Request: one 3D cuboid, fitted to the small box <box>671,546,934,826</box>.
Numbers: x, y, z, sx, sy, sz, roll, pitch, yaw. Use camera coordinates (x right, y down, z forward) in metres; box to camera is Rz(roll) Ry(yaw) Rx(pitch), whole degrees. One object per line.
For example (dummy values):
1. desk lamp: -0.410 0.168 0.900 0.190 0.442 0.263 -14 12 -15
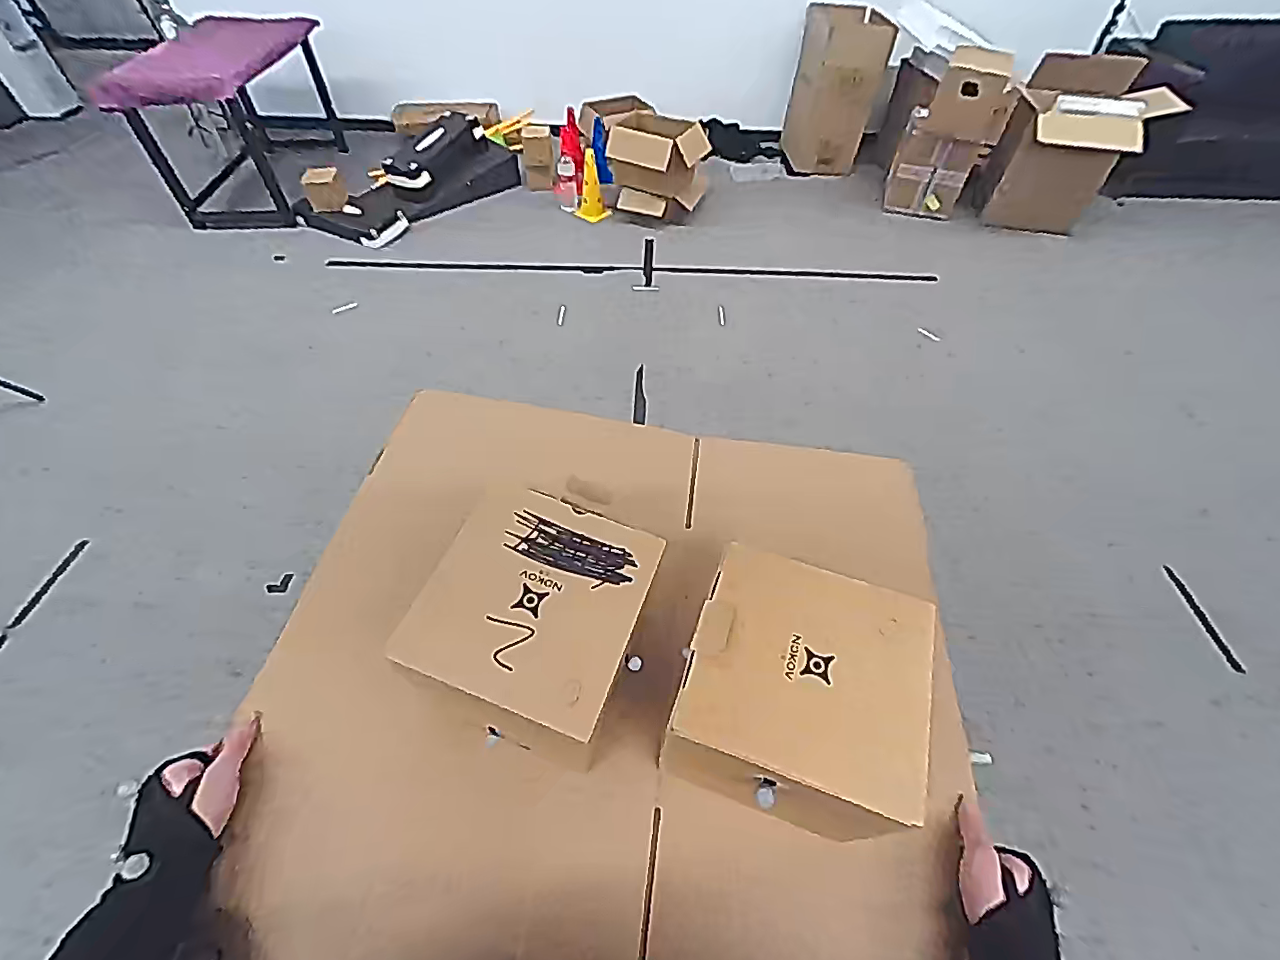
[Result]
1. small box: 0.135 0.190 0.487 0.179 0.176 0.168 16 55 12
